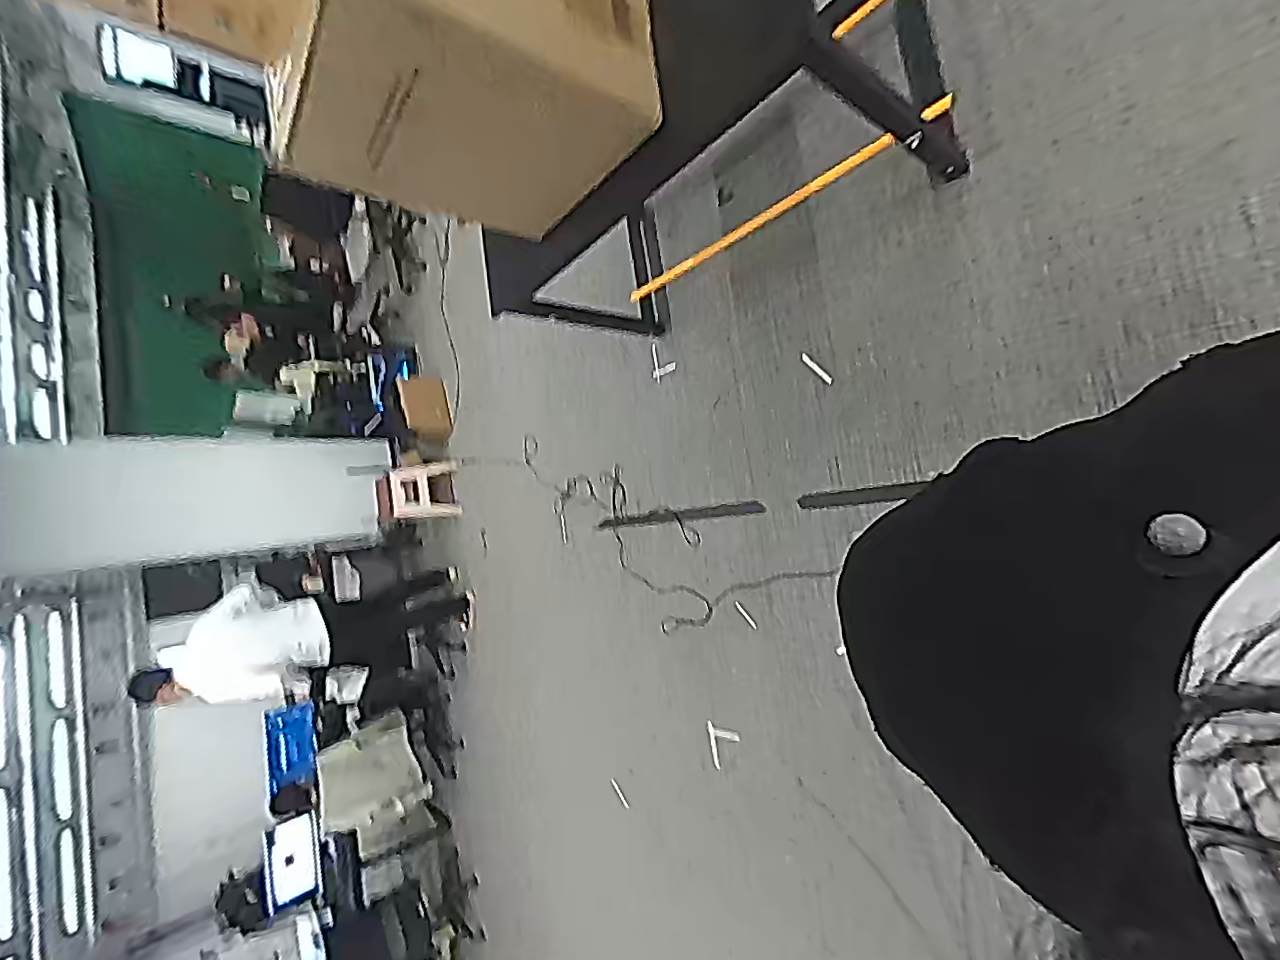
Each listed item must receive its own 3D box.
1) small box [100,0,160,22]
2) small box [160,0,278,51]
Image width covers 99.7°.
[{"bbox_3d":[-0.900,-0.920,0.883,0.168,0.176,0.179,-9,86,50],"label":"small box"},{"bbox_3d":[-0.779,-0.942,0.994,0.168,0.176,0.179,-12,84,48],"label":"small box"}]
